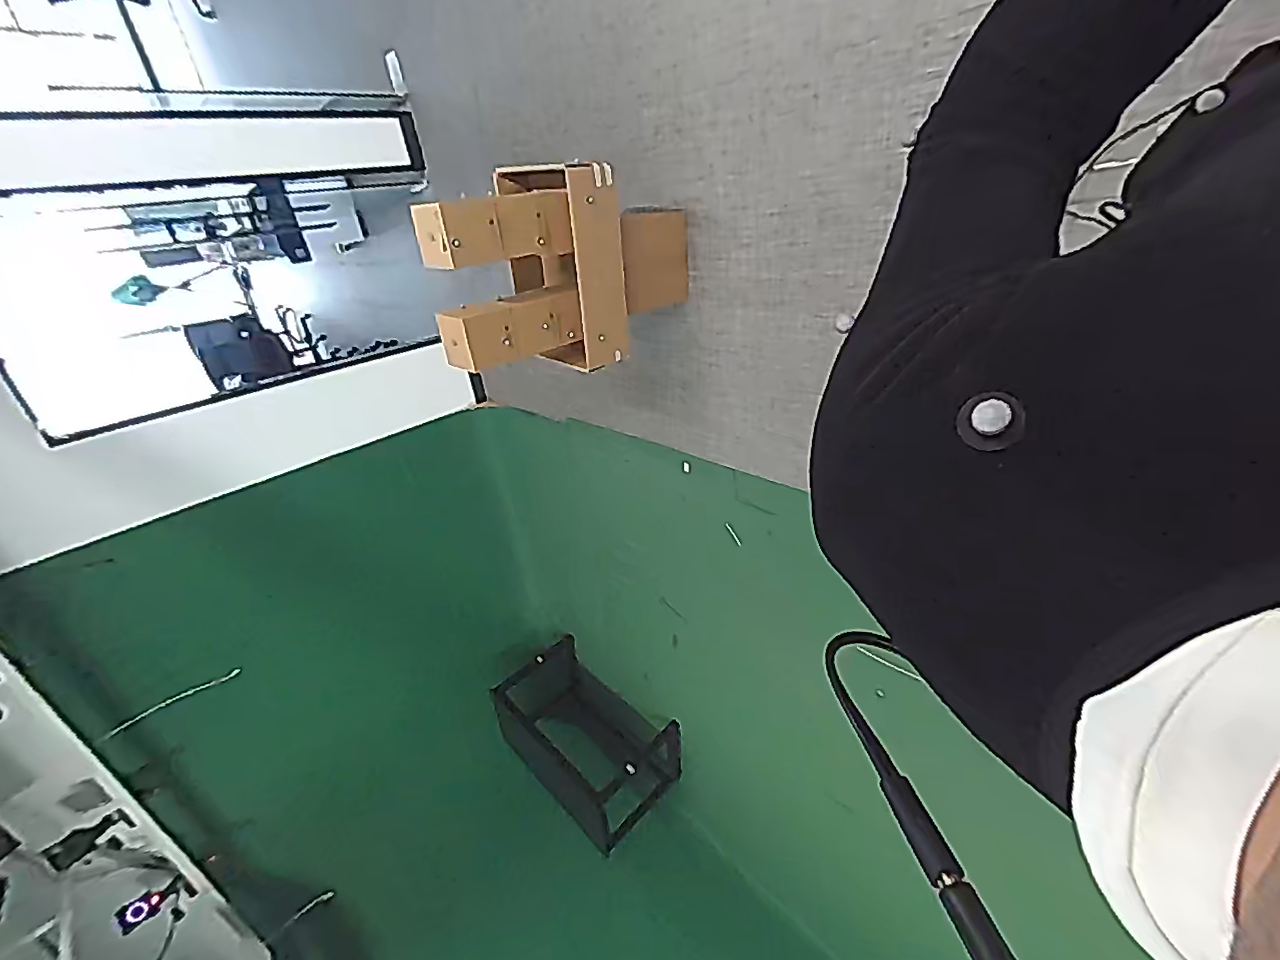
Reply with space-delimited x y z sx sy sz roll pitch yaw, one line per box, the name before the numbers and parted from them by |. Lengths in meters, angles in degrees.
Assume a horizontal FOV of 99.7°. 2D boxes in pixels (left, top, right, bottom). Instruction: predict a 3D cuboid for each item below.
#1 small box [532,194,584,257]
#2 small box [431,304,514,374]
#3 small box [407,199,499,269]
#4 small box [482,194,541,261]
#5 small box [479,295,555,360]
small box | -0.302 -0.821 1.739 0.179 0.176 0.168 26 130 37
small box | -0.517 -0.445 1.683 0.179 0.176 0.168 23 130 40
small box | -0.525 -0.698 1.532 0.179 0.176 0.168 22 128 40
small box | -0.413 -0.763 1.633 0.179 0.176 0.168 22 128 41
small box | -0.403 -0.508 1.782 0.179 0.176 0.168 22 129 40
